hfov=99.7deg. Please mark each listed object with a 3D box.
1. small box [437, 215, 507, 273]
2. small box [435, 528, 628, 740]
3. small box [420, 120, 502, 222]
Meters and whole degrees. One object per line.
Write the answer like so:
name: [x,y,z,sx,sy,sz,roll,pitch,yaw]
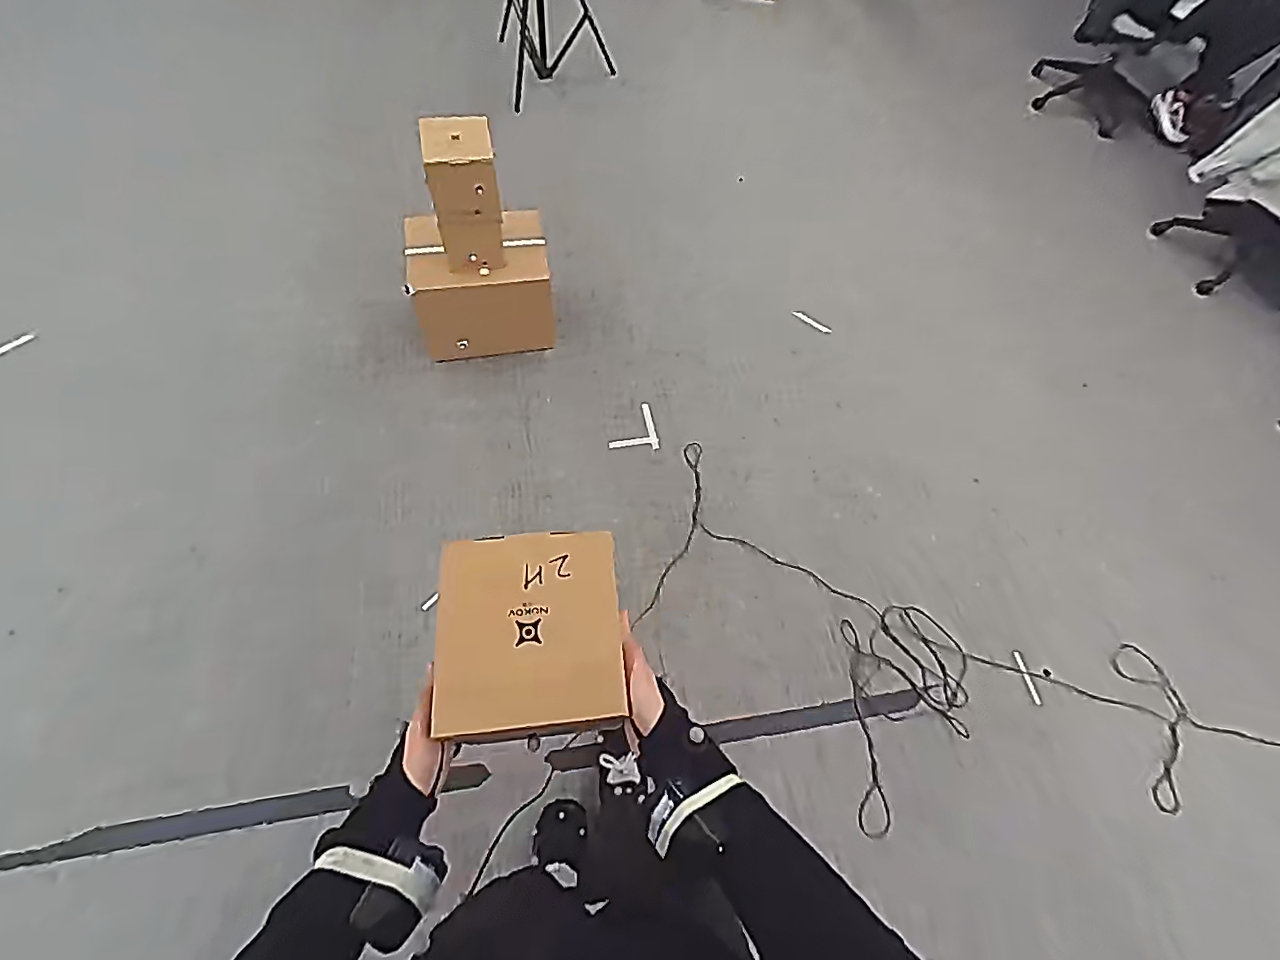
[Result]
small box: [-0.477,-0.716,1.535,0.168,0.176,0.179,-9,65,-10]
small box: [-0.105,0.166,0.561,0.168,0.176,0.179,-4,62,-8]
small box: [-0.455,-0.785,1.389,0.168,0.176,0.179,-10,64,-12]
